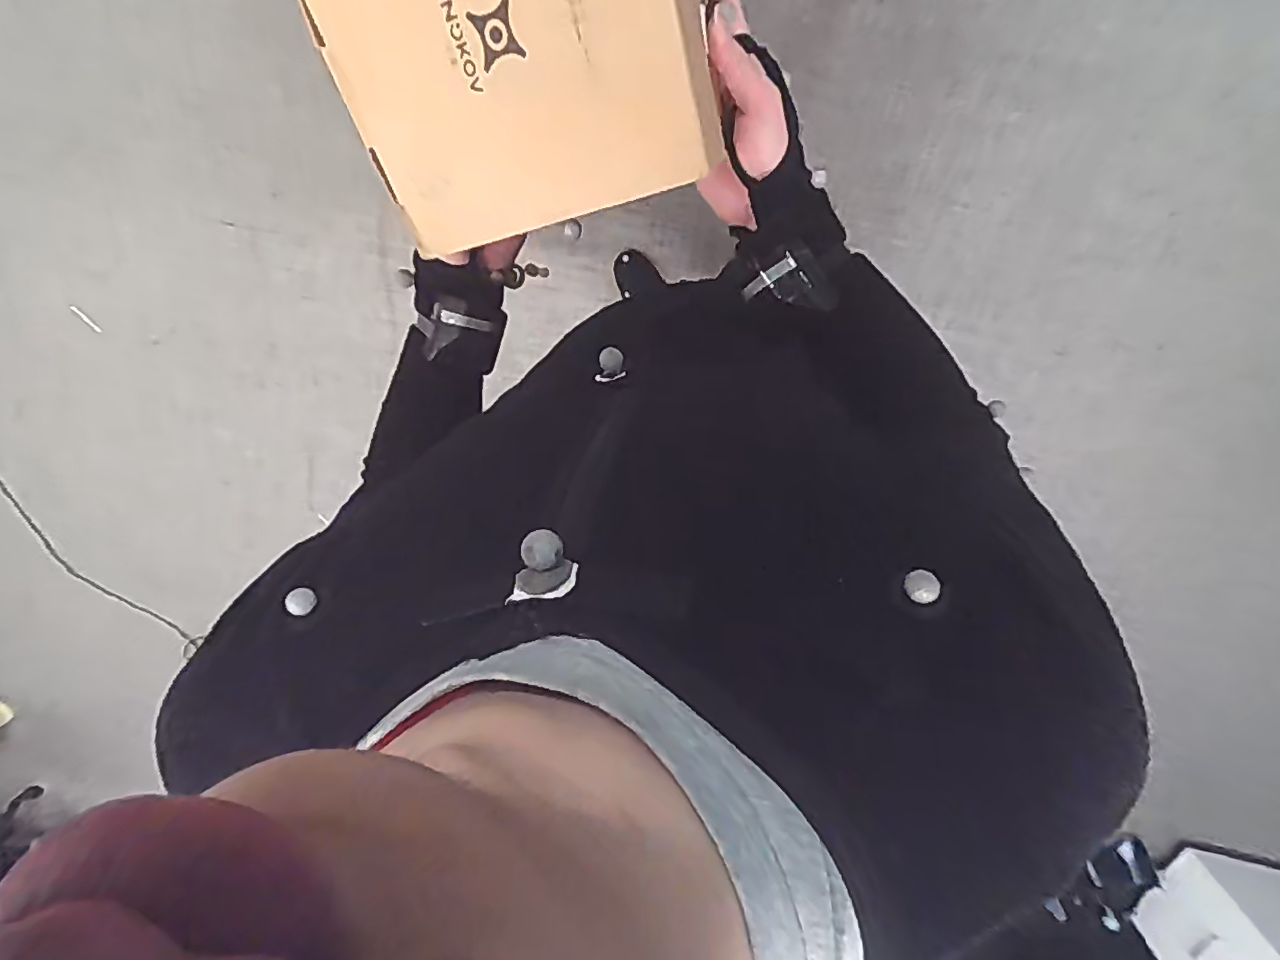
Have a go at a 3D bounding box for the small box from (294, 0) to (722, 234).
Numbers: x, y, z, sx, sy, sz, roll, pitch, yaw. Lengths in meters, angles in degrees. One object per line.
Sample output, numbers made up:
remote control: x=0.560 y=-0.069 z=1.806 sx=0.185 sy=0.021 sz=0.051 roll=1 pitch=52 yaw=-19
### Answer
small box: x=-0.058 y=-0.260 z=0.305 sx=0.179 sy=0.176 sz=0.168 roll=-8 pitch=124 yaw=18
